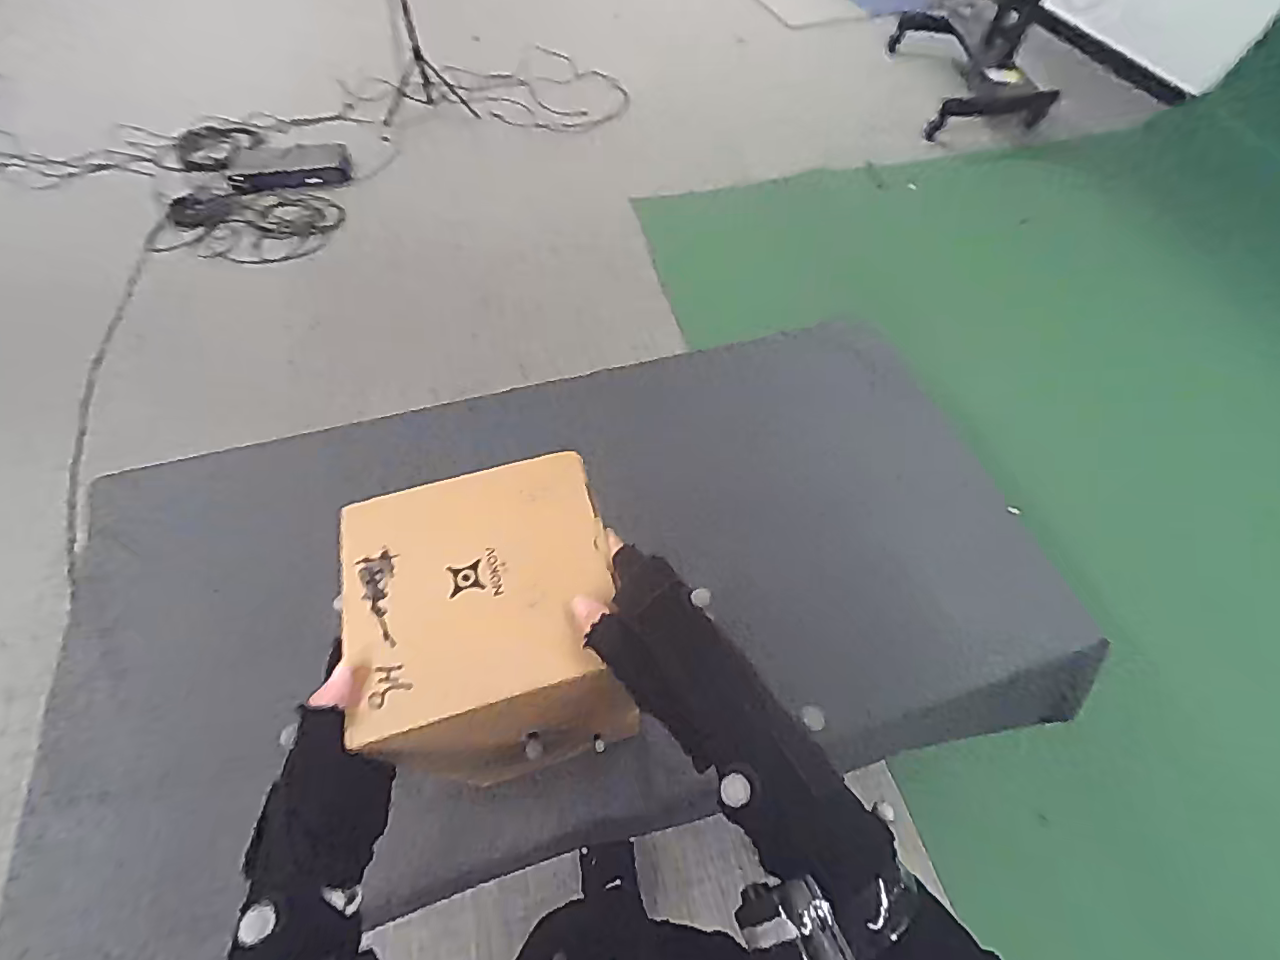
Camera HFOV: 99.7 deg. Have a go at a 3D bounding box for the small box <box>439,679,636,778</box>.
[{"bbox_3d":[-0.110,0.196,0.570,0.179,0.176,0.168,-16,59,-9],"label":"small box"}]

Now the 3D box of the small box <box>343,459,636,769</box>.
[{"bbox_3d":[-0.110,0.111,0.429,0.179,0.176,0.168,-13,57,-10],"label":"small box"}]
